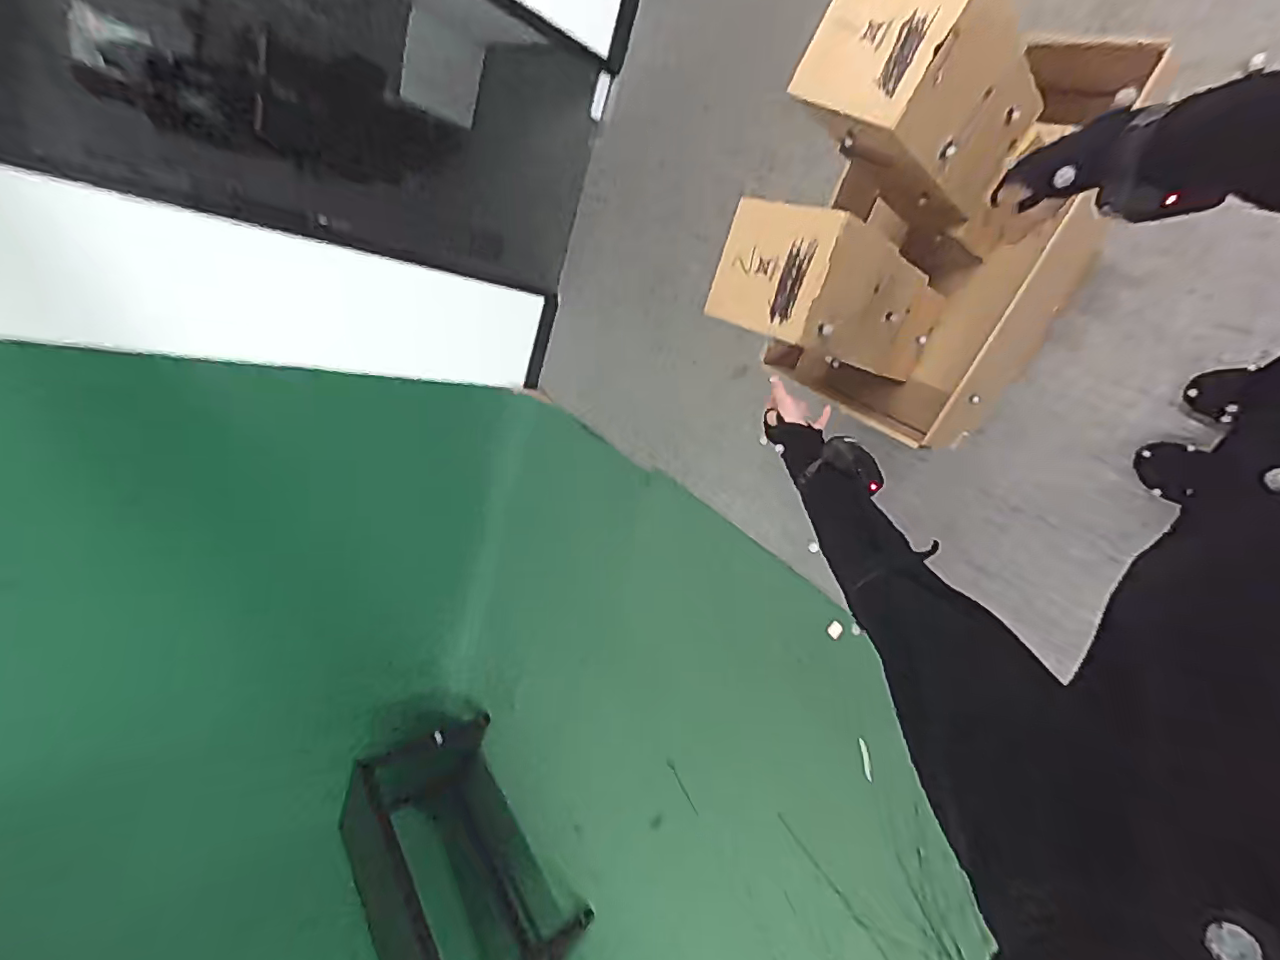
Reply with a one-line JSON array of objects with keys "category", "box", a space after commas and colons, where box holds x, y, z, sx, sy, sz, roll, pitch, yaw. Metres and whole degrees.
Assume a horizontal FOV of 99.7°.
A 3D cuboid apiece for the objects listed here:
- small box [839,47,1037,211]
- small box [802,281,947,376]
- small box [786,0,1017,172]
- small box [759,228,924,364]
[{"category": "small box", "box": [0.443, -0.524, 0.803, 0.179, 0.176, 0.168, 46, 121, 34]}, {"category": "small box", "box": [0.446, -0.307, 1.039, 0.179, 0.176, 0.168, 36, 117, 39]}, {"category": "small box", "box": [0.330, -0.521, 0.684, 0.179, 0.176, 0.168, 49, 123, 33]}, {"category": "small box", "box": [0.341, -0.303, 0.912, 0.179, 0.176, 0.168, 36, 115, 38]}]
